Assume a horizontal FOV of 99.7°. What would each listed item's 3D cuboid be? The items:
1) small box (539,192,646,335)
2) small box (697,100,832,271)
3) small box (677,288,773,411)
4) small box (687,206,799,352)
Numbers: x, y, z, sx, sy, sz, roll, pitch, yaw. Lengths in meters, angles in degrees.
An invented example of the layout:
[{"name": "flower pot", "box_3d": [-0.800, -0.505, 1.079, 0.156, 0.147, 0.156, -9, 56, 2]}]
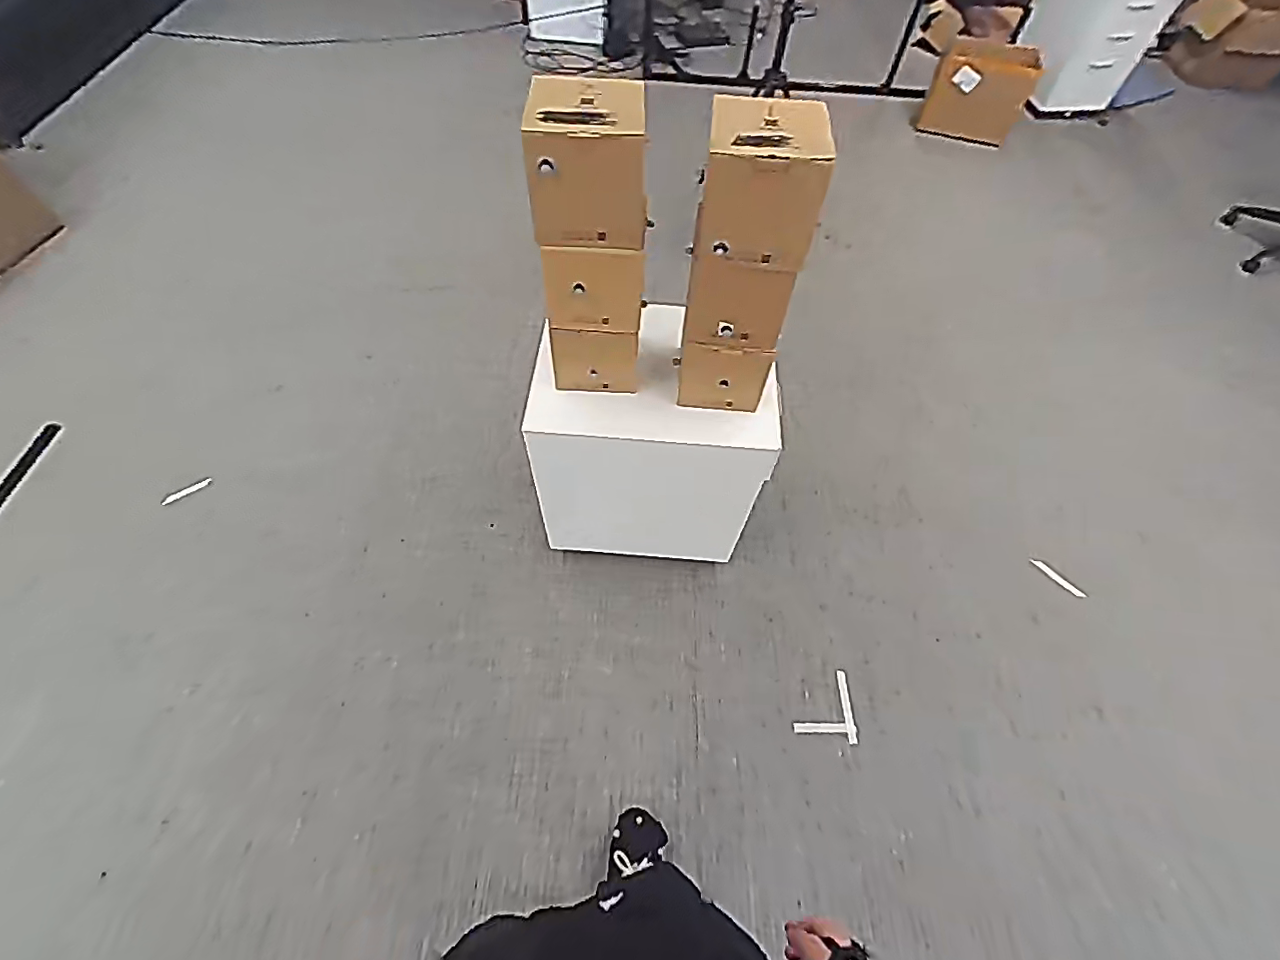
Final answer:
[{"name": "small box", "box_3d": [-0.077, -0.378, 0.960, 0.168, 0.176, 0.179, 3, 57, -1]}, {"name": "small box", "box_3d": [0.178, -0.438, 0.814, 0.168, 0.176, 0.179, 5, 56, 3]}, {"name": "small box", "box_3d": [0.166, -0.257, 1.086, 0.168, 0.176, 0.179, 5, 59, 0]}, {"name": "small box", "box_3d": [0.172, -0.352, 0.954, 0.168, 0.176, 0.179, 4, 58, 2]}]
